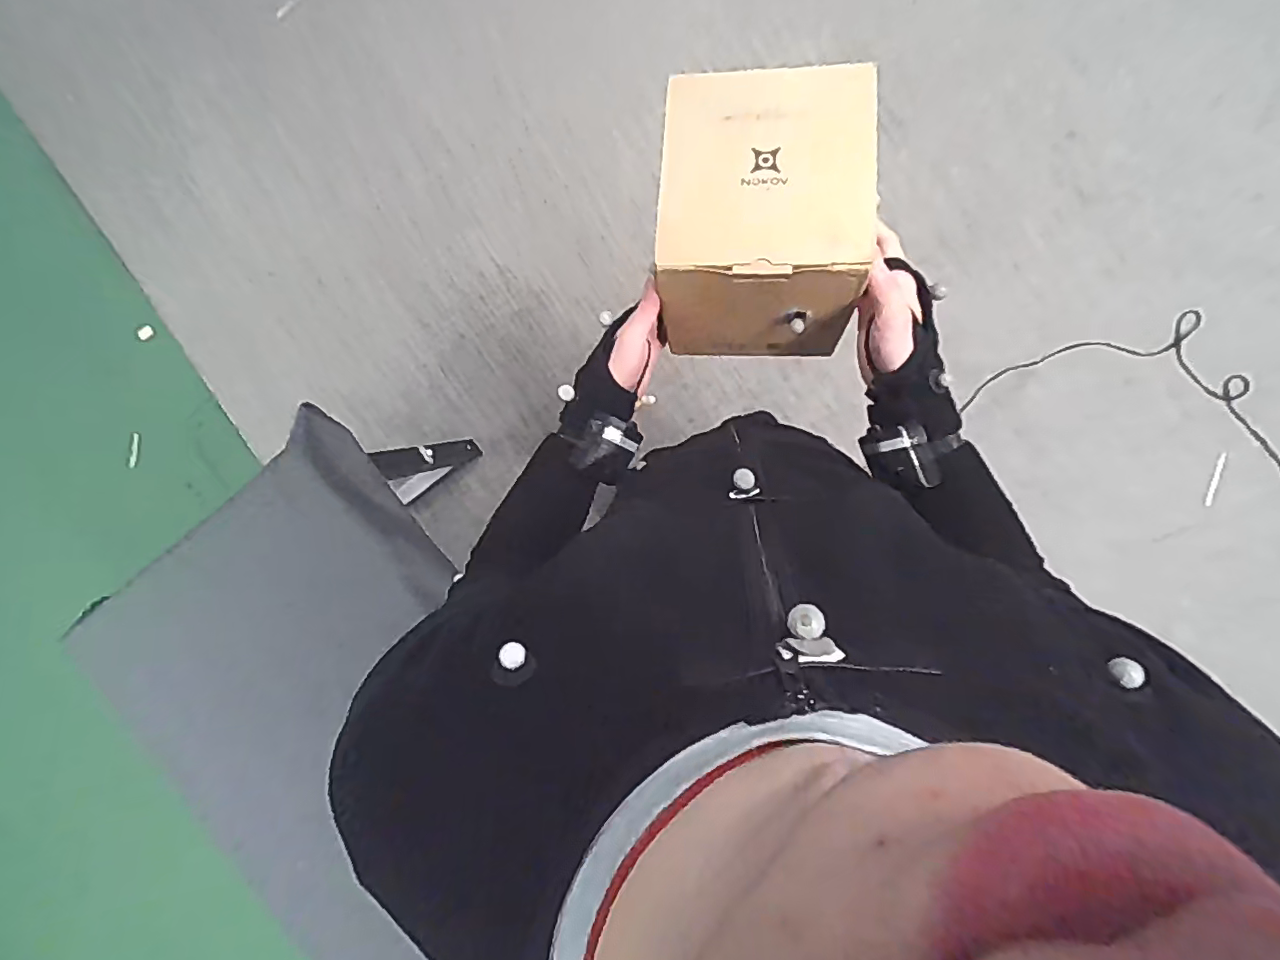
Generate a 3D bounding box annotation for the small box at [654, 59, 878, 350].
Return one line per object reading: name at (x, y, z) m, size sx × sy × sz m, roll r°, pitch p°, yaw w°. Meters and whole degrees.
small box at (0.108, -0.230, 0.494) m, size 0.168 × 0.176 × 0.179 m, roll 2°, pitch 80°, yaw 7°
